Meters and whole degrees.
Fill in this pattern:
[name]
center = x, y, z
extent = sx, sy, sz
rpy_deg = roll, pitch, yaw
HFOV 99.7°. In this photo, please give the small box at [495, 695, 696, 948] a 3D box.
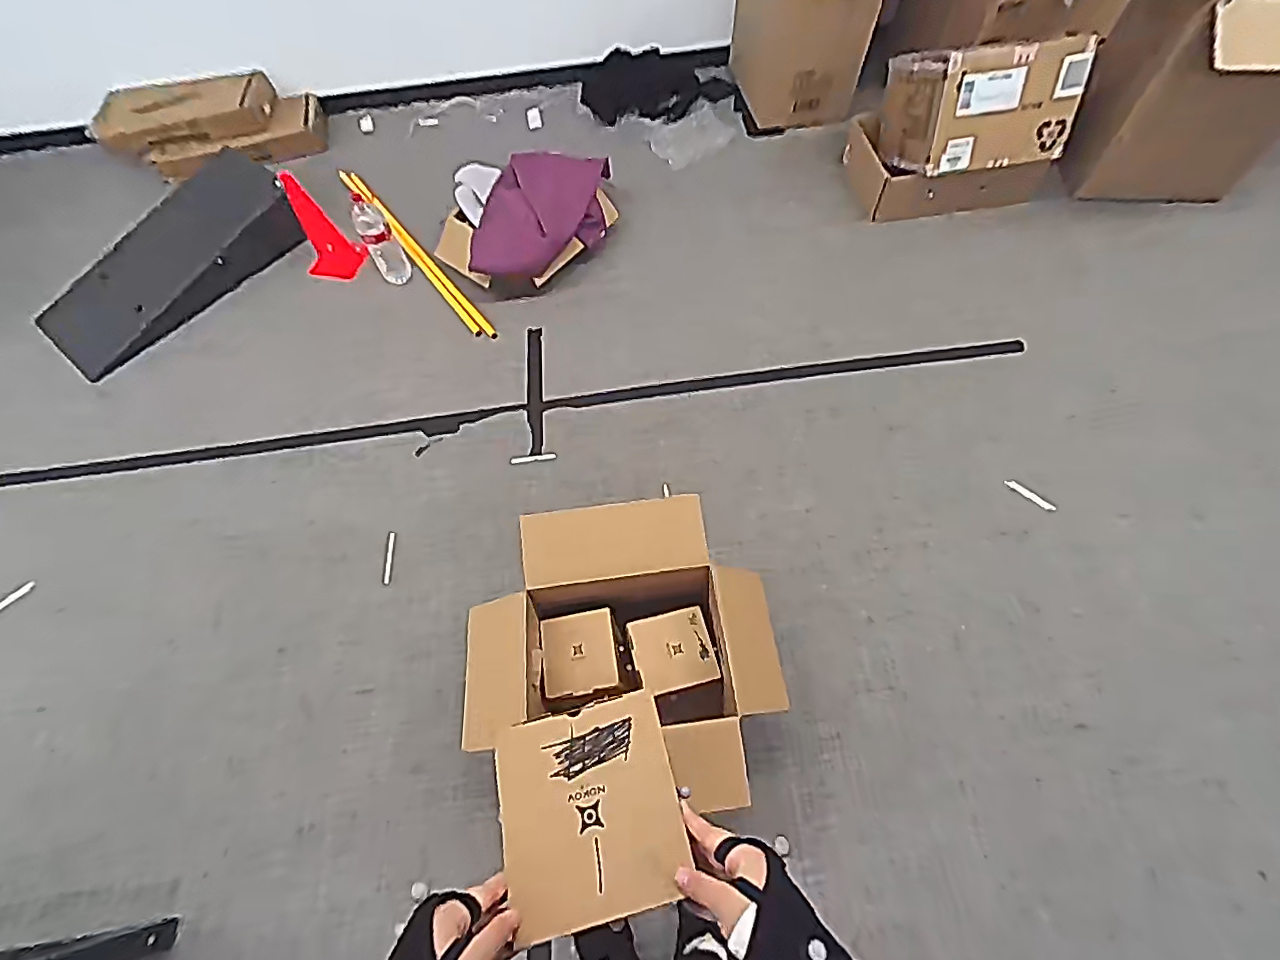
[small box]
center = -0.046, 0.355, 0.576
extent = 0.168, 0.176, 0.179
rpy_deg = -14, 57, -5
